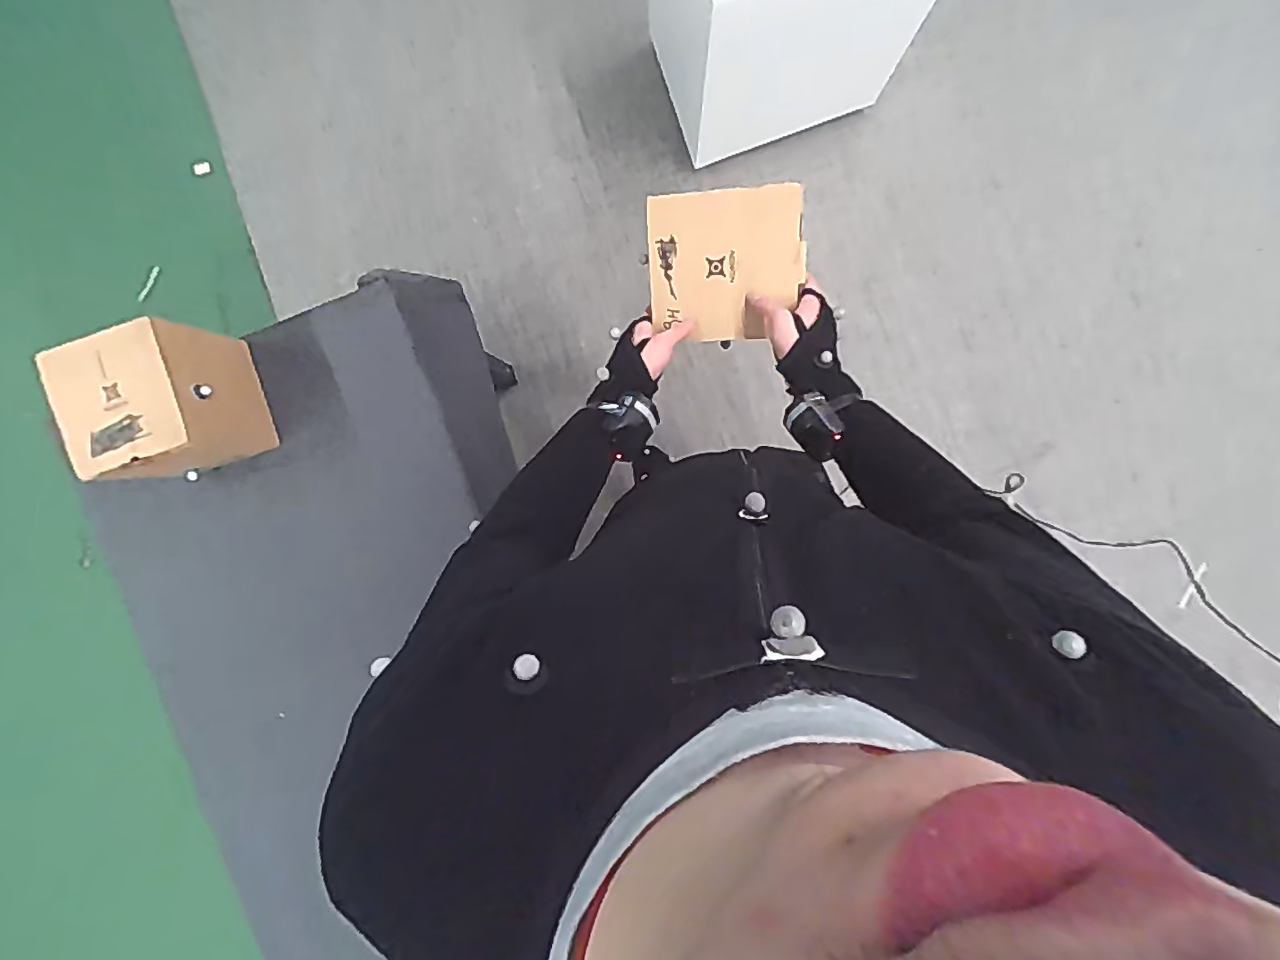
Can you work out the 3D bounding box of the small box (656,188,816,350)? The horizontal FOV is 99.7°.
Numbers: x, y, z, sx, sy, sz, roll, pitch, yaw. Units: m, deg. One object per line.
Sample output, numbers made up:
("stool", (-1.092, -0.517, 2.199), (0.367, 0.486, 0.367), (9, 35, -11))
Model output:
("small box", (0.113, -0.258, 0.684), (0.179, 0.176, 0.168), (-2, 106, 6))
